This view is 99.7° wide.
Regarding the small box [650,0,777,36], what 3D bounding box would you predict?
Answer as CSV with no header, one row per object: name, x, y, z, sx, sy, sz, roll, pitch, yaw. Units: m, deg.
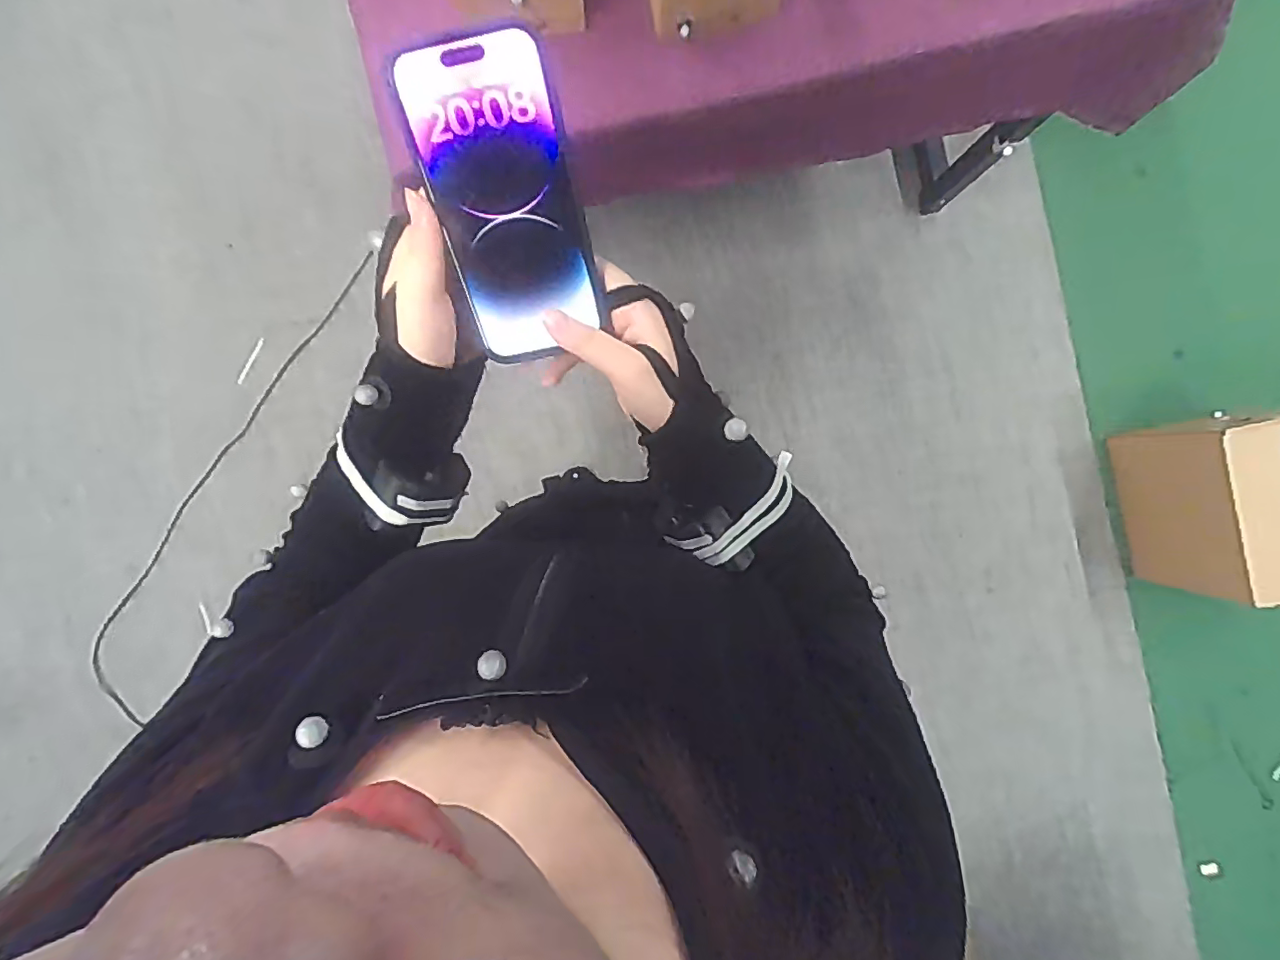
small box,0.090,-0.696,0.665,0.168,0.176,0.179,-12,91,0

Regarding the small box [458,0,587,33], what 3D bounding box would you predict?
small box,-0.160,-0.695,0.665,0.168,0.176,0.179,-5,92,0
